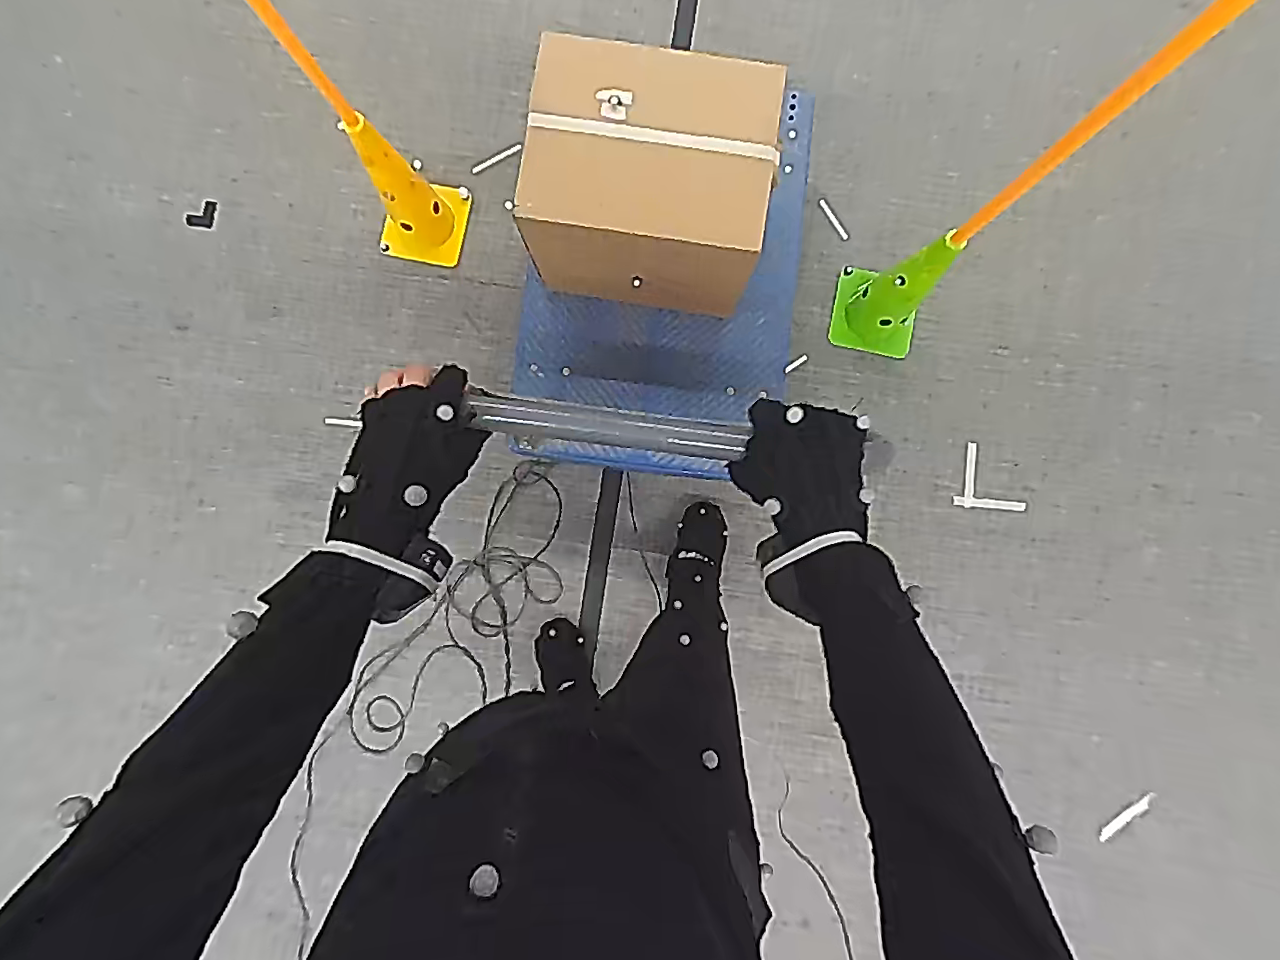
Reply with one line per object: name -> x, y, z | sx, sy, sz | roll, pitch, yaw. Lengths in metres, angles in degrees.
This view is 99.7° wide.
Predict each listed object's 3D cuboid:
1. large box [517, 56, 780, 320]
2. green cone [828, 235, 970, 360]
large box -> 0.020, -0.524, 1.037 | 0.408, 0.320, 0.320 | 9, 87, 2
green cone -> 0.579, -0.418, 1.169 | 0.202, 0.368, 0.200 | 12, 87, 0
